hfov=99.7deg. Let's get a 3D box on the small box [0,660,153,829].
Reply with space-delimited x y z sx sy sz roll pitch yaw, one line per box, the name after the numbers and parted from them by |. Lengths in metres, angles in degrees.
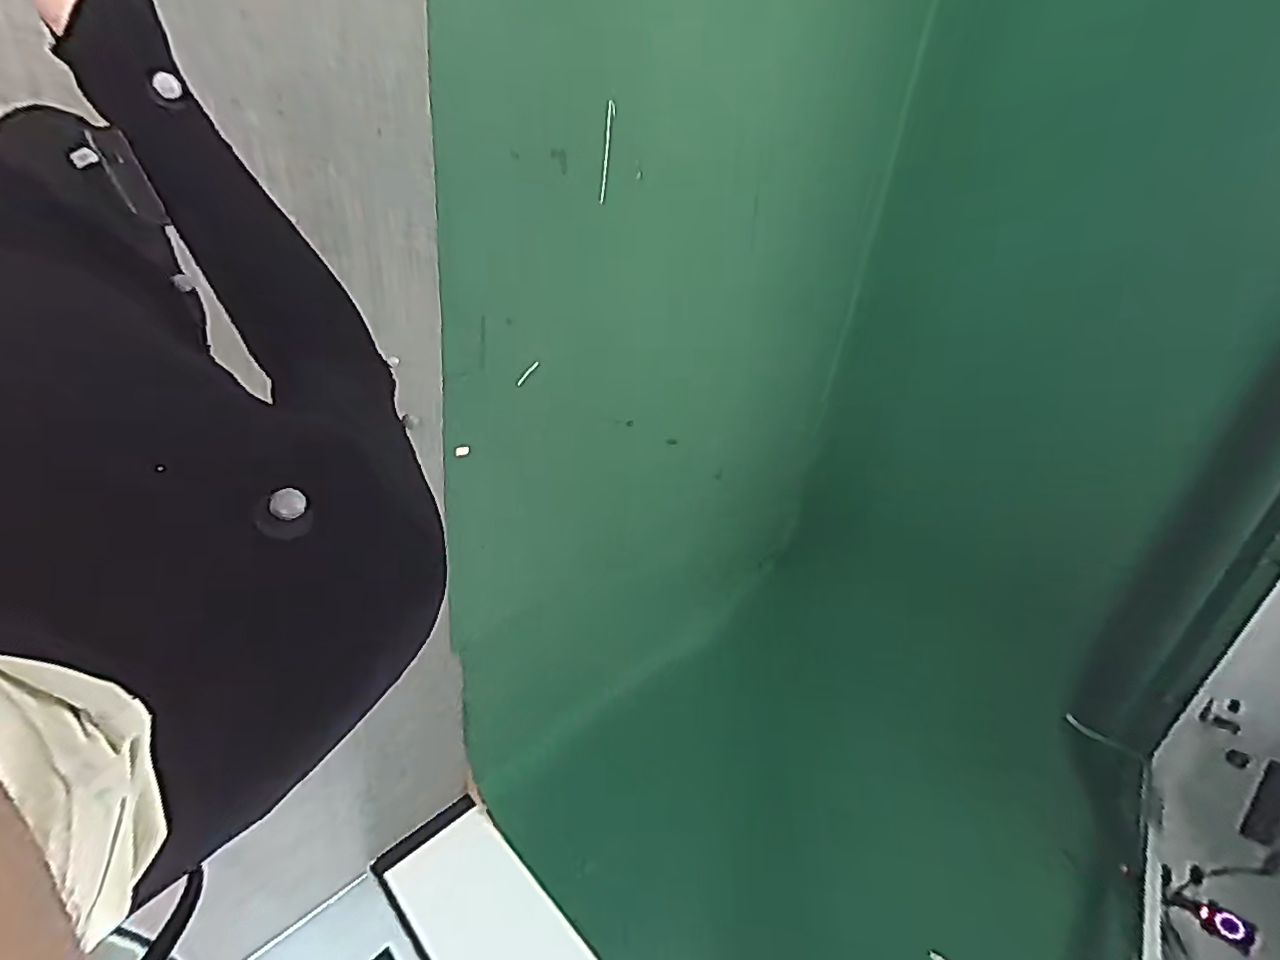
-1.012 0.464 0.975 0.168 0.176 0.179 -15 122 -44 | small box
